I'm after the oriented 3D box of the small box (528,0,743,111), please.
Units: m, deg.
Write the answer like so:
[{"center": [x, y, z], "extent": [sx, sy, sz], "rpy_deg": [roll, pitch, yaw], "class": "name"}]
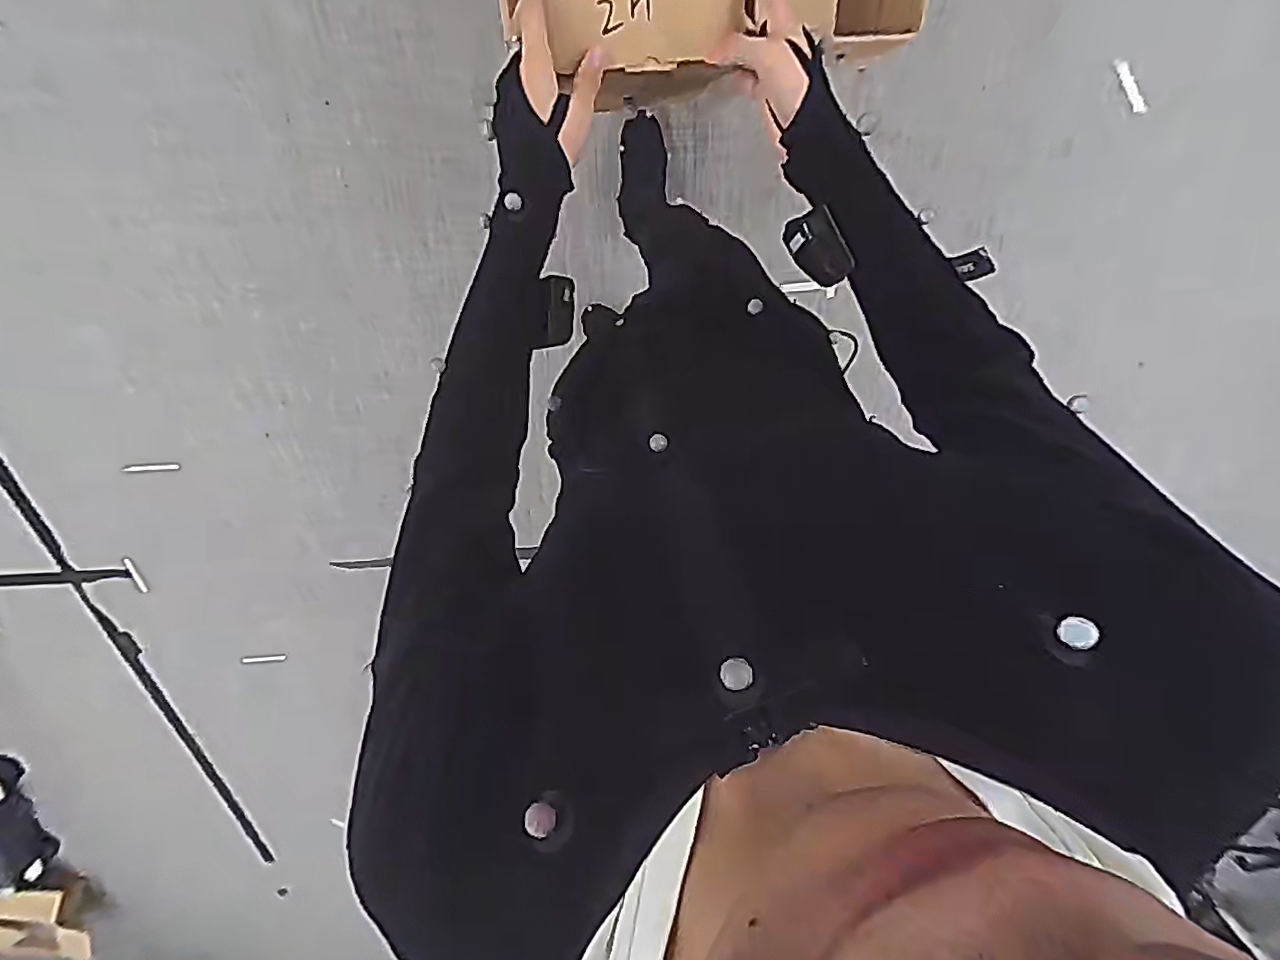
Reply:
[{"center": [-0.017, -0.455, 0.480], "extent": [0.168, 0.176, 0.179], "rpy_deg": [-11, 116, -7], "class": "small box"}]
